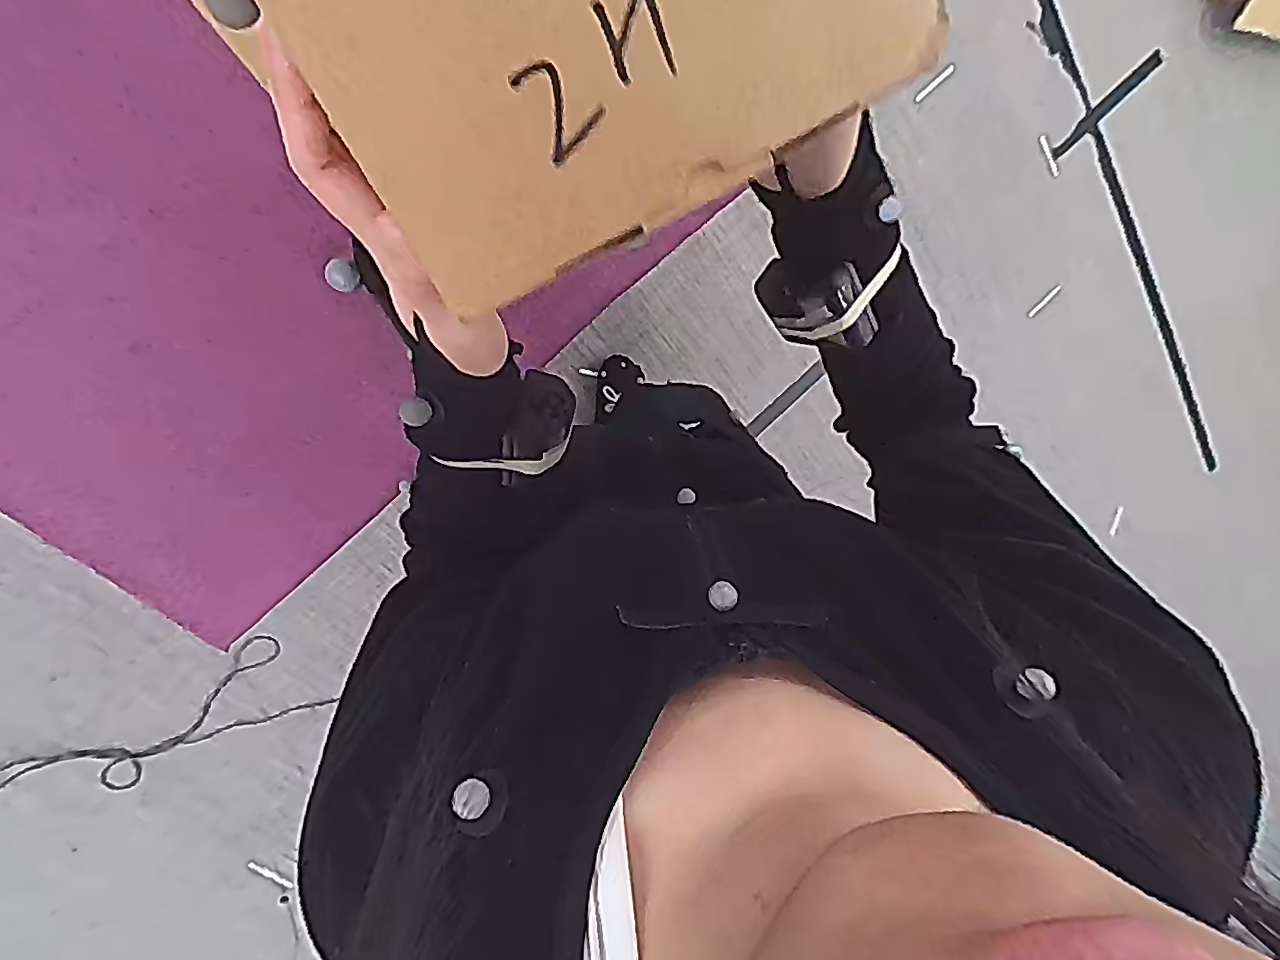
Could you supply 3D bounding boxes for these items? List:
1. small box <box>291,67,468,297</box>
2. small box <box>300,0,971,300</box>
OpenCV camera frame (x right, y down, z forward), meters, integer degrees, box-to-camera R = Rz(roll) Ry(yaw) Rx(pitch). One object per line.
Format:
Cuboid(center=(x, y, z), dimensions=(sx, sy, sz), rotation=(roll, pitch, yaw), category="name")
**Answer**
Cuboid(center=(-0.192, -0.305, 0.539), dimensions=(0.168, 0.176, 0.179), rotation=(-40, 111, -4), category="small box")
Cuboid(center=(-0.030, -0.184, 0.185), dimensions=(0.168, 0.176, 0.179), rotation=(-29, 119, -2), category="small box")
